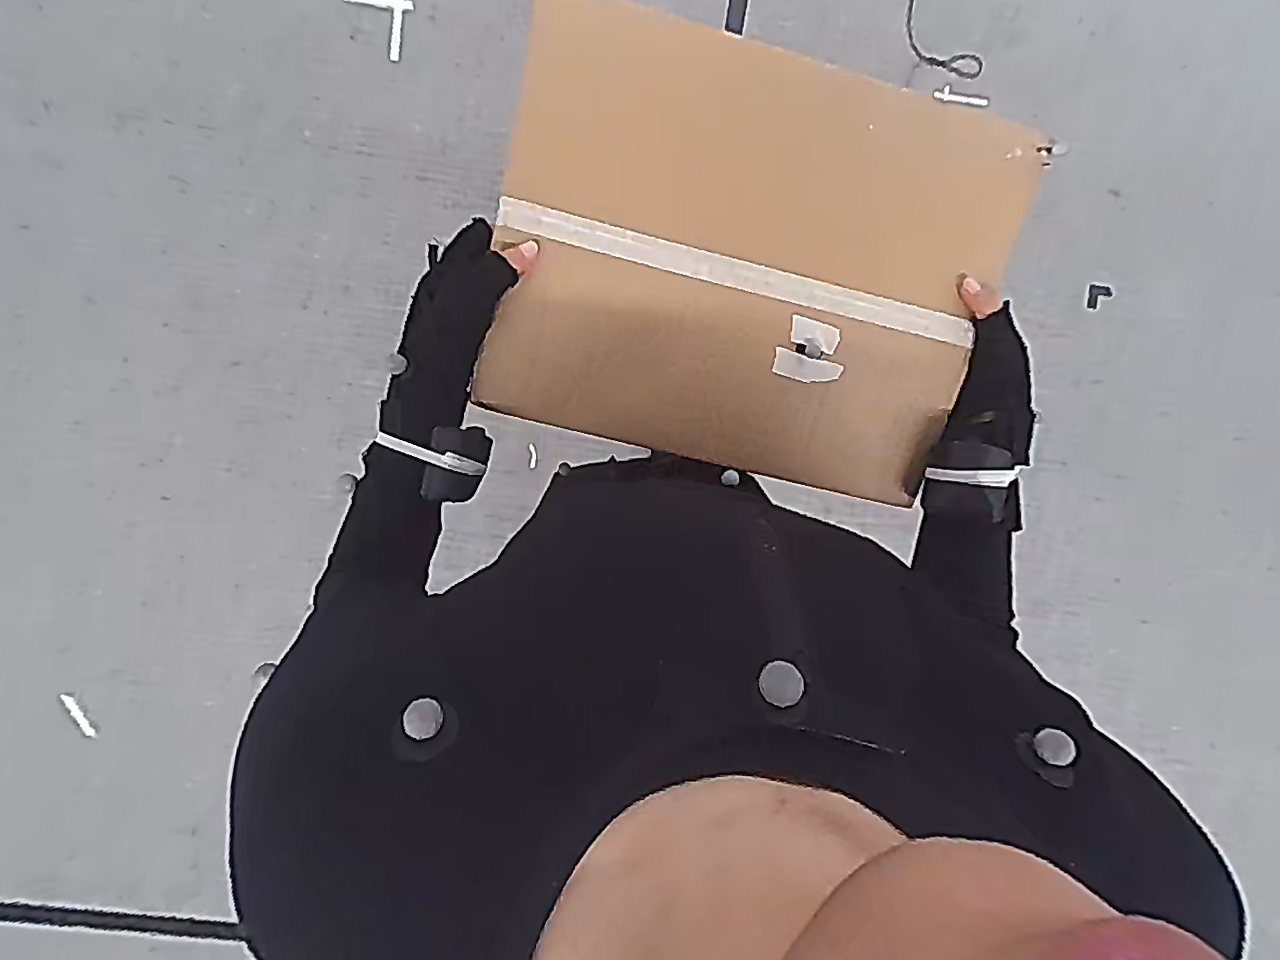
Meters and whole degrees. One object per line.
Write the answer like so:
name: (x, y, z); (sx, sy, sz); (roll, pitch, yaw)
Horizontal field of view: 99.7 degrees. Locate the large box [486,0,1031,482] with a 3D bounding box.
large box: (0.081, -0.219, 0.594); (0.408, 0.320, 0.320); (12, 106, -6)
